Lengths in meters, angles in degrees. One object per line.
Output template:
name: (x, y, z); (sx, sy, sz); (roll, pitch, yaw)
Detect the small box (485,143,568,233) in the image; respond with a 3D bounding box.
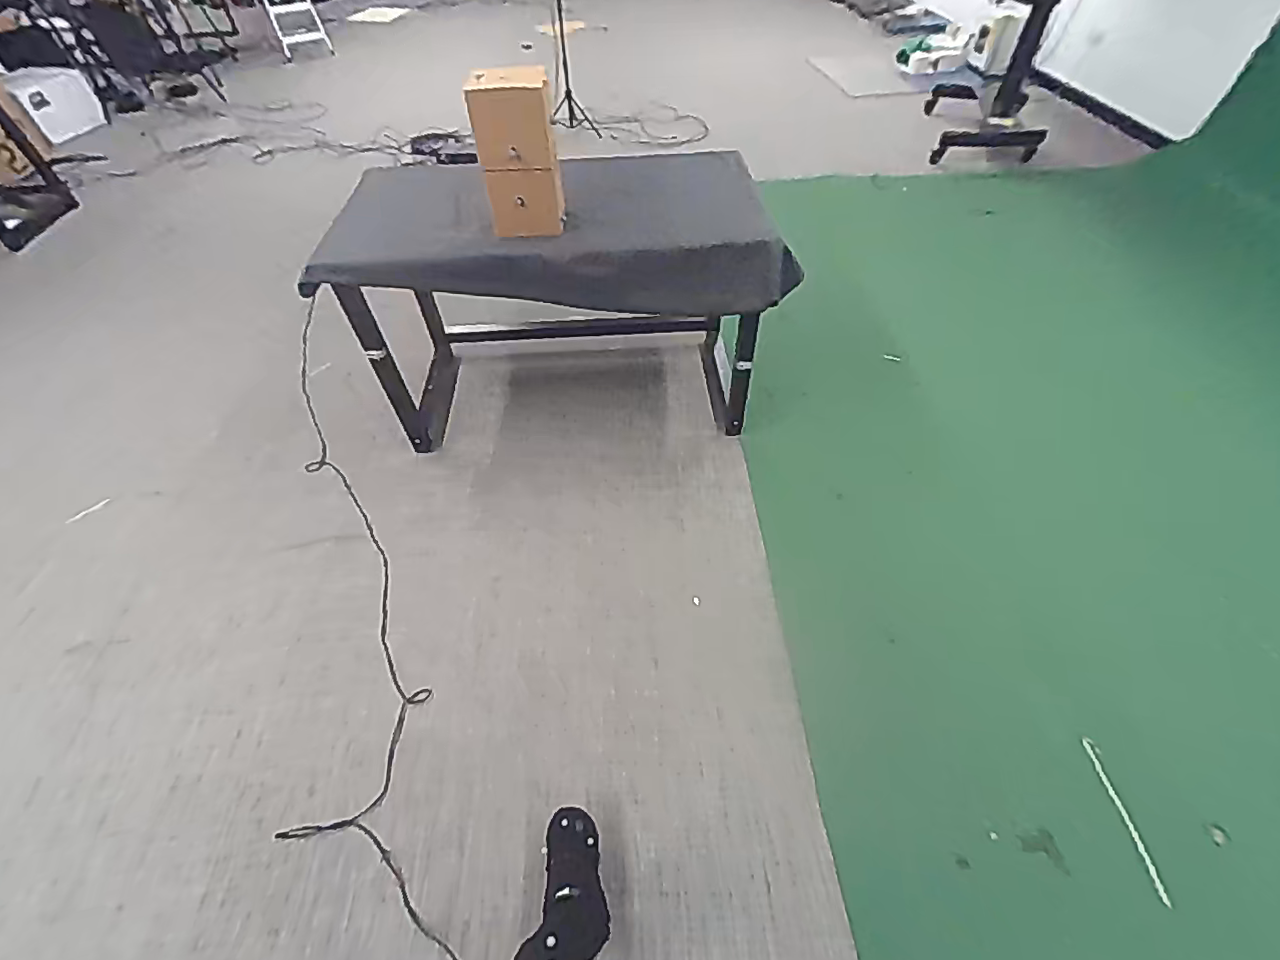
small box: (-0.288, -0.768, 1.425); (0.179, 0.176, 0.168); (0, 48, 1)

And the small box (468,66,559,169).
small box: (-0.293, -0.868, 1.299); (0.179, 0.176, 0.168); (-2, 50, 0)
